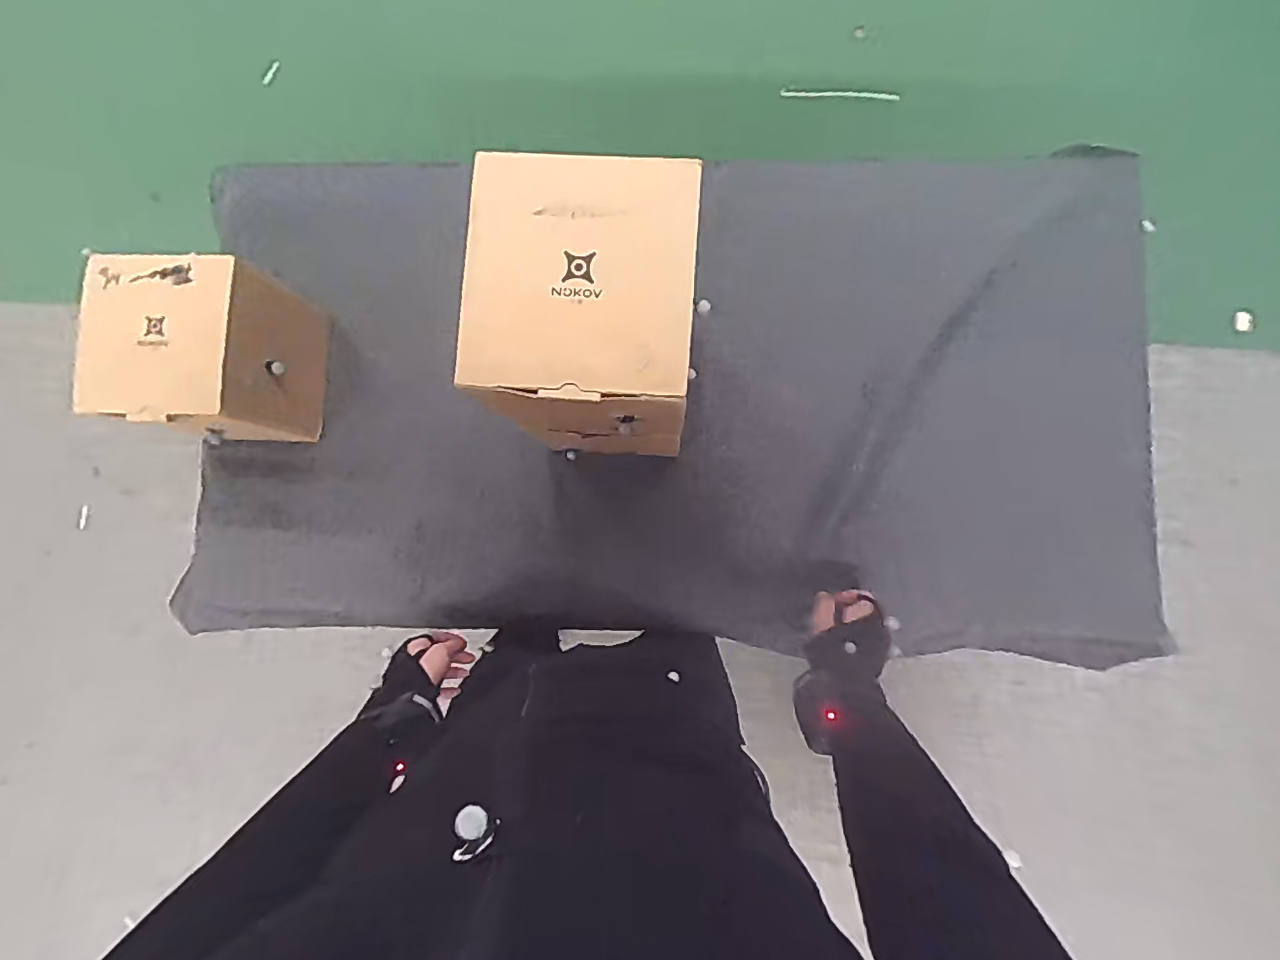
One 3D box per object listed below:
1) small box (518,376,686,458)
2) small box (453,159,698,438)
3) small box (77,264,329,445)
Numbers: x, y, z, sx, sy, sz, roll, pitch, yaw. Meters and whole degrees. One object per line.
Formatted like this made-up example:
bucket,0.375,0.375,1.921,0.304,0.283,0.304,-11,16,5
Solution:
small box,-0.031,-0.121,0.618,0.168,0.176,0.179,3,85,3
small box,-0.041,-0.134,0.458,0.168,0.176,0.179,3,85,2
small box,-0.503,-0.137,0.647,0.168,0.176,0.179,1,86,2
